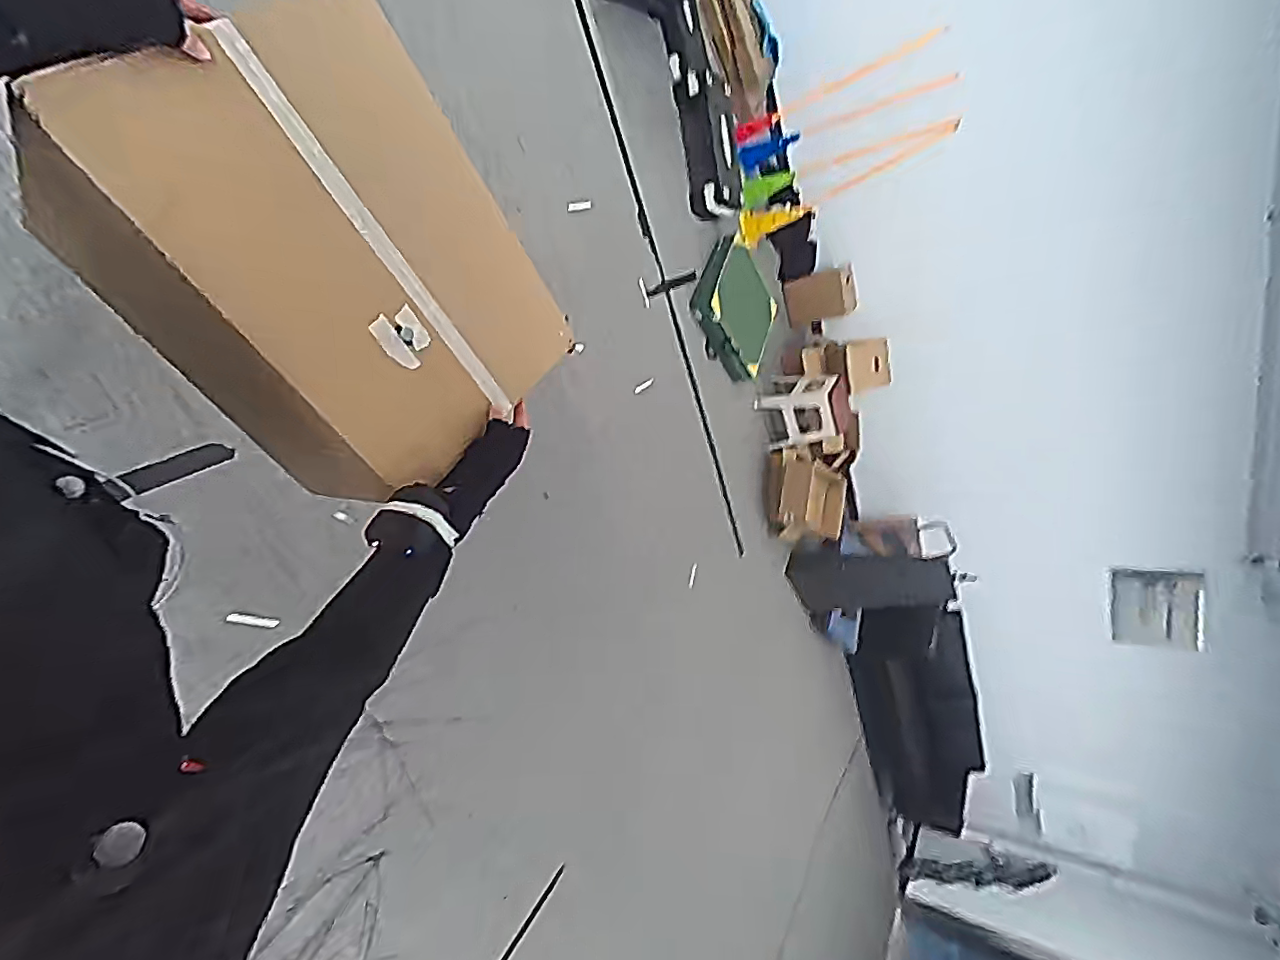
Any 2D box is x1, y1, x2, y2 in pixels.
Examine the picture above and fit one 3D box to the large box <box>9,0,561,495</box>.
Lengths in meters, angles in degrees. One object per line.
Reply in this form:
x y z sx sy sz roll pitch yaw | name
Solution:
-0.380 -0.231 0.646 0.320 0.320 0.408 -55 130 -31 | large box
